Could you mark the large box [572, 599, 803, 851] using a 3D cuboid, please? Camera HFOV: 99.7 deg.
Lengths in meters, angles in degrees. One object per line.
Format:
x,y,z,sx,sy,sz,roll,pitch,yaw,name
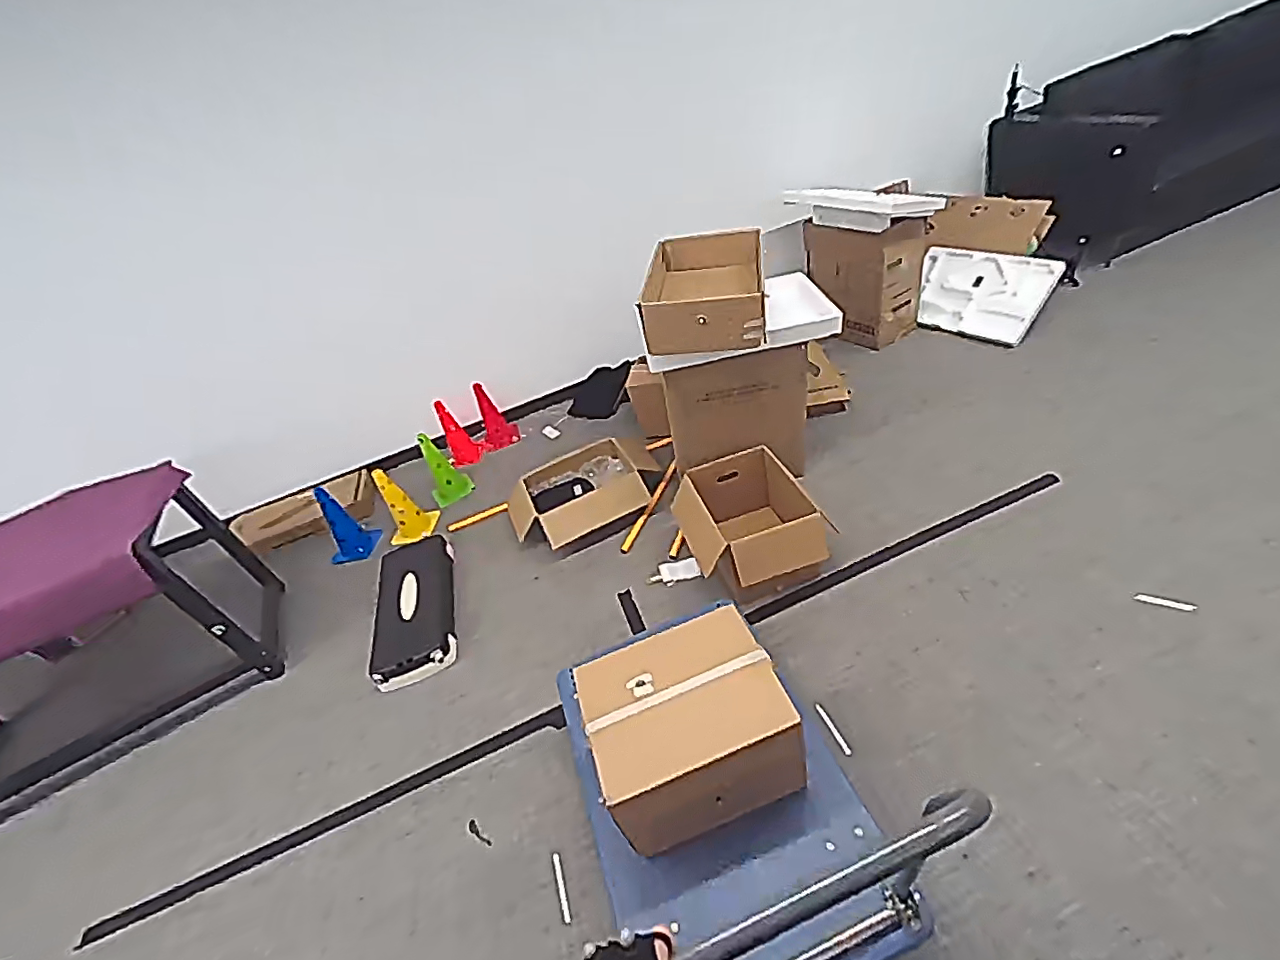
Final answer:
0.108,0.545,1.219,0.408,0.320,0.320,-22,38,-5,large box
